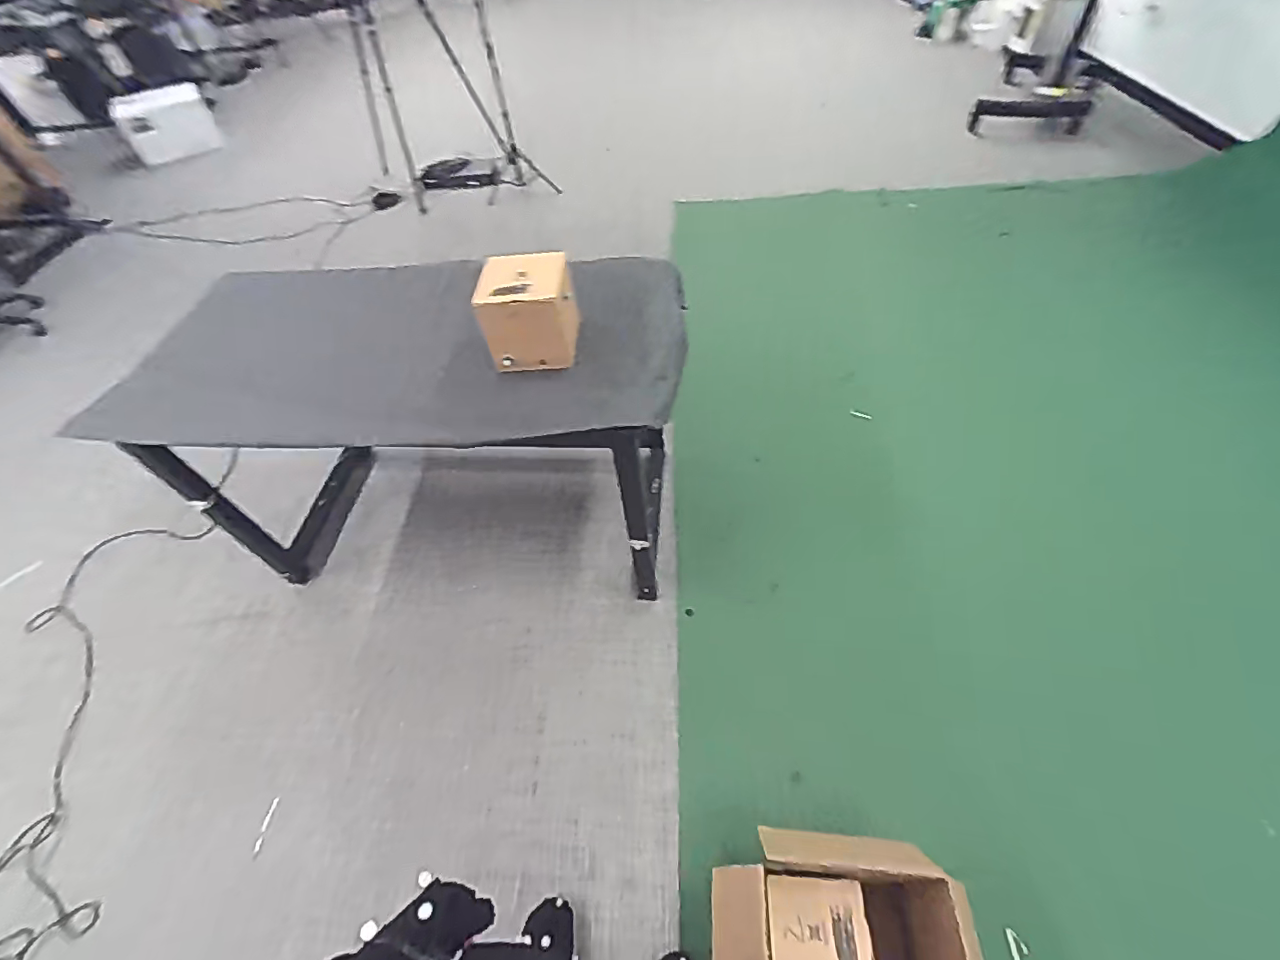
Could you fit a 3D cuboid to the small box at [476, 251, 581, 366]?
[{"bbox_3d":[-0.222,-0.352,1.131,0.168,0.176,0.179,-2,50,4],"label":"small box"}]
